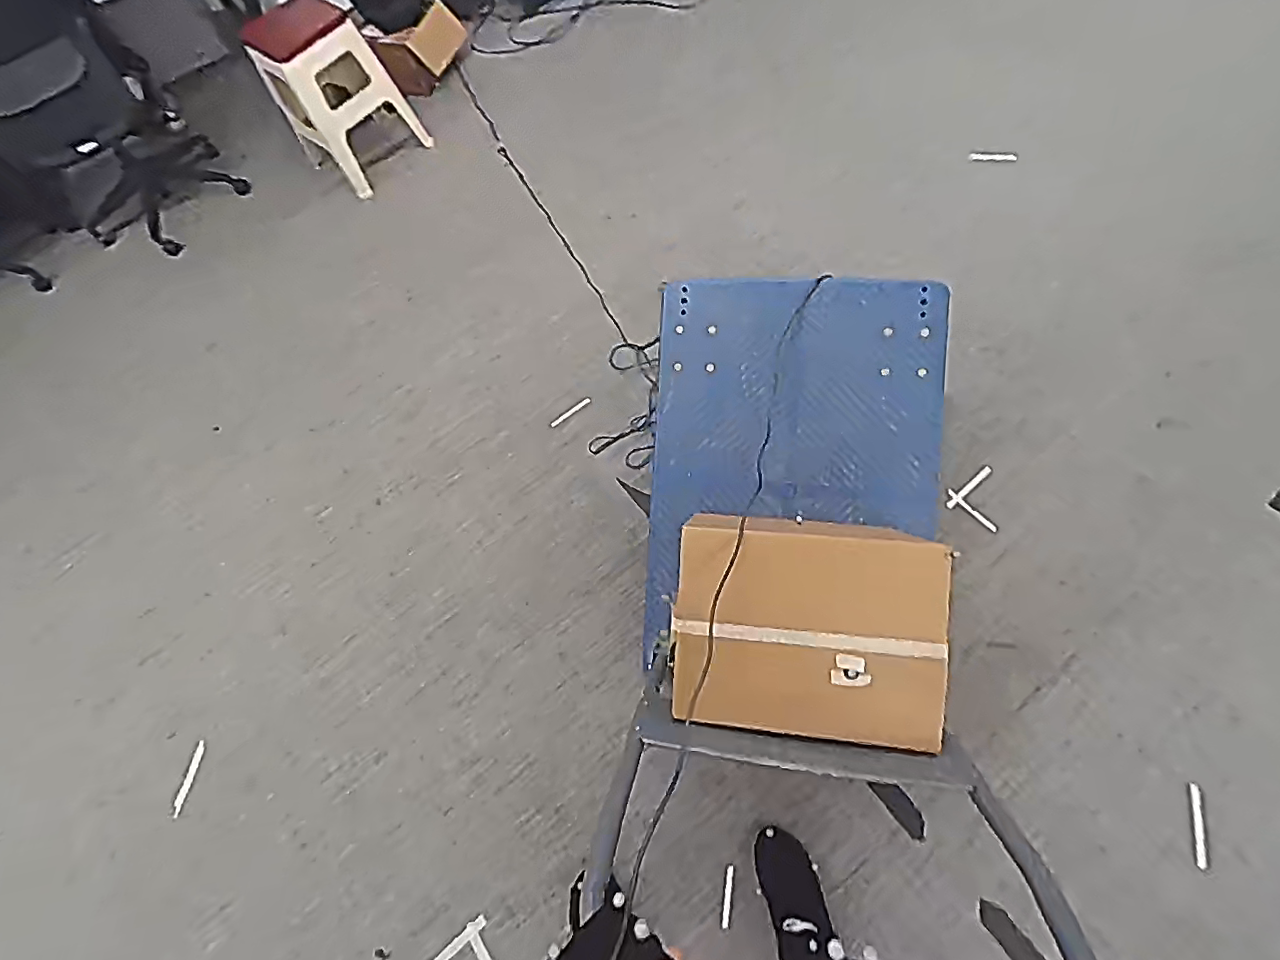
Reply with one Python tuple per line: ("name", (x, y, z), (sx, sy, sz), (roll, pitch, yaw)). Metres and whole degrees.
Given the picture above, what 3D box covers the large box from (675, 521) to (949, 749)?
("large box", (0.277, 0.242, 0.978), (0.408, 0.320, 0.320), (3, 92, 9))
